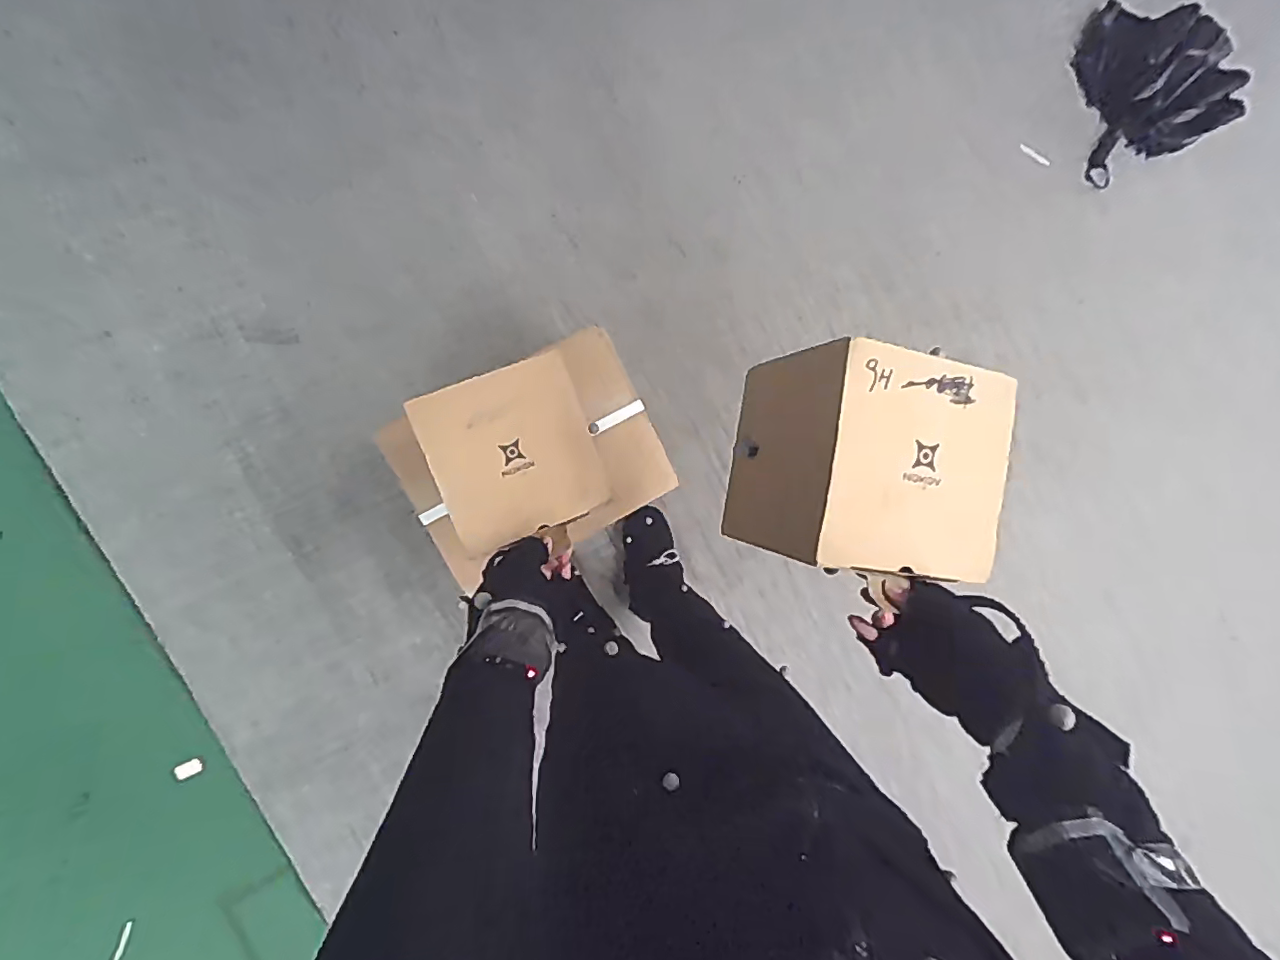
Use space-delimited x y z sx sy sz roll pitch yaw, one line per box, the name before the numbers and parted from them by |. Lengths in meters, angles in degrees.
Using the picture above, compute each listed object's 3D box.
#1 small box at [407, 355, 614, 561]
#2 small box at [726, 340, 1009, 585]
small box | -0.144 -0.029 0.640 0.168 0.176 0.179 -22 98 -9
small box | 0.195 -0.014 0.507 0.168 0.176 0.179 9 90 -17
